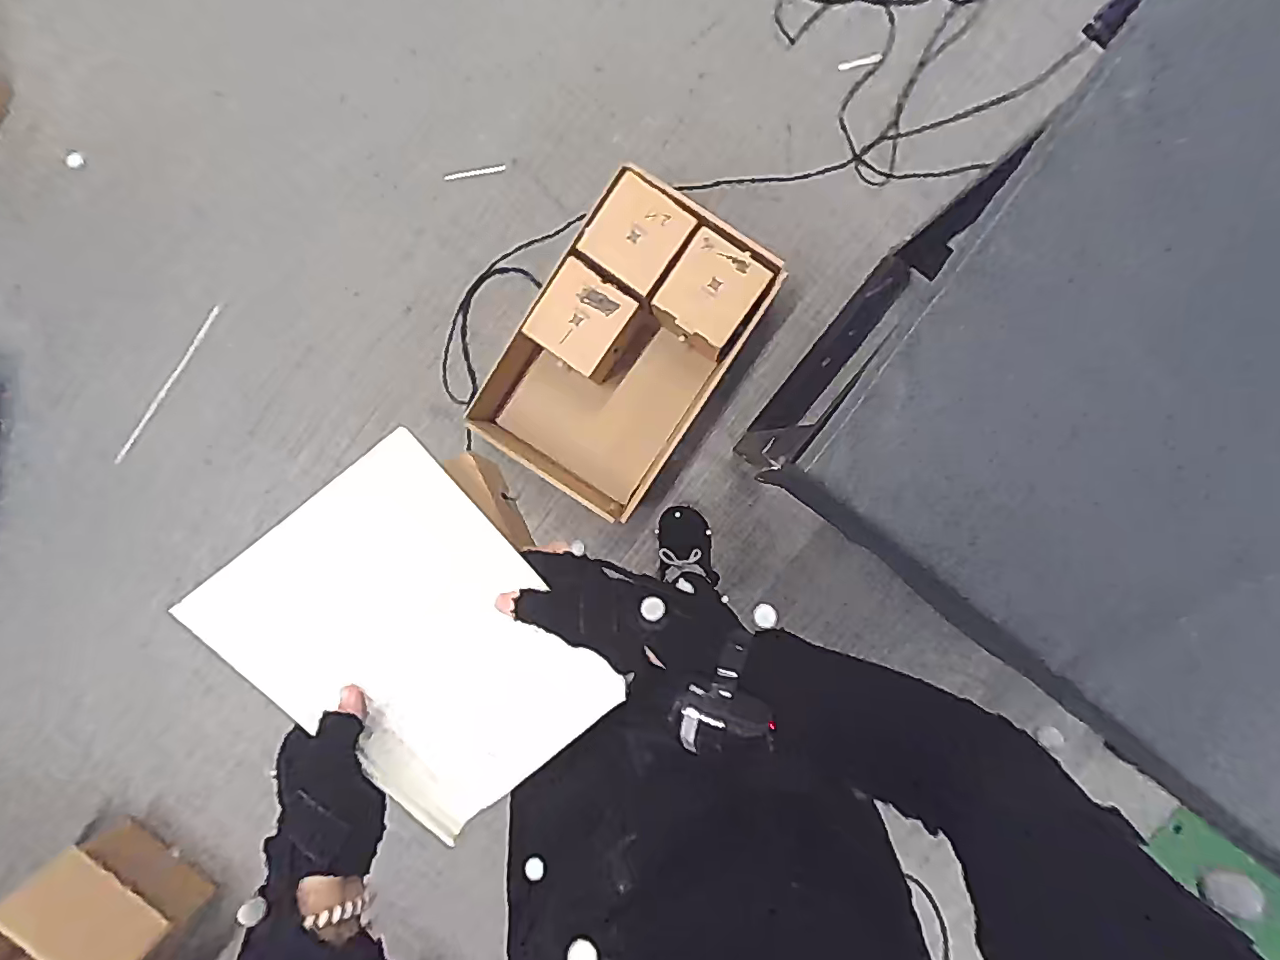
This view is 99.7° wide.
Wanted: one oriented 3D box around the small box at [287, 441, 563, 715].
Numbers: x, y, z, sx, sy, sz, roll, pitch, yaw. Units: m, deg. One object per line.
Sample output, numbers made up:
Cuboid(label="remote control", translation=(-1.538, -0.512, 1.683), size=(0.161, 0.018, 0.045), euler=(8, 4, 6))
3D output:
Cuboid(label="small box", translation=(-0.182, 0.081, 0.514), size=(0.168, 0.176, 0.179), euler=(-24, 91, -7))
